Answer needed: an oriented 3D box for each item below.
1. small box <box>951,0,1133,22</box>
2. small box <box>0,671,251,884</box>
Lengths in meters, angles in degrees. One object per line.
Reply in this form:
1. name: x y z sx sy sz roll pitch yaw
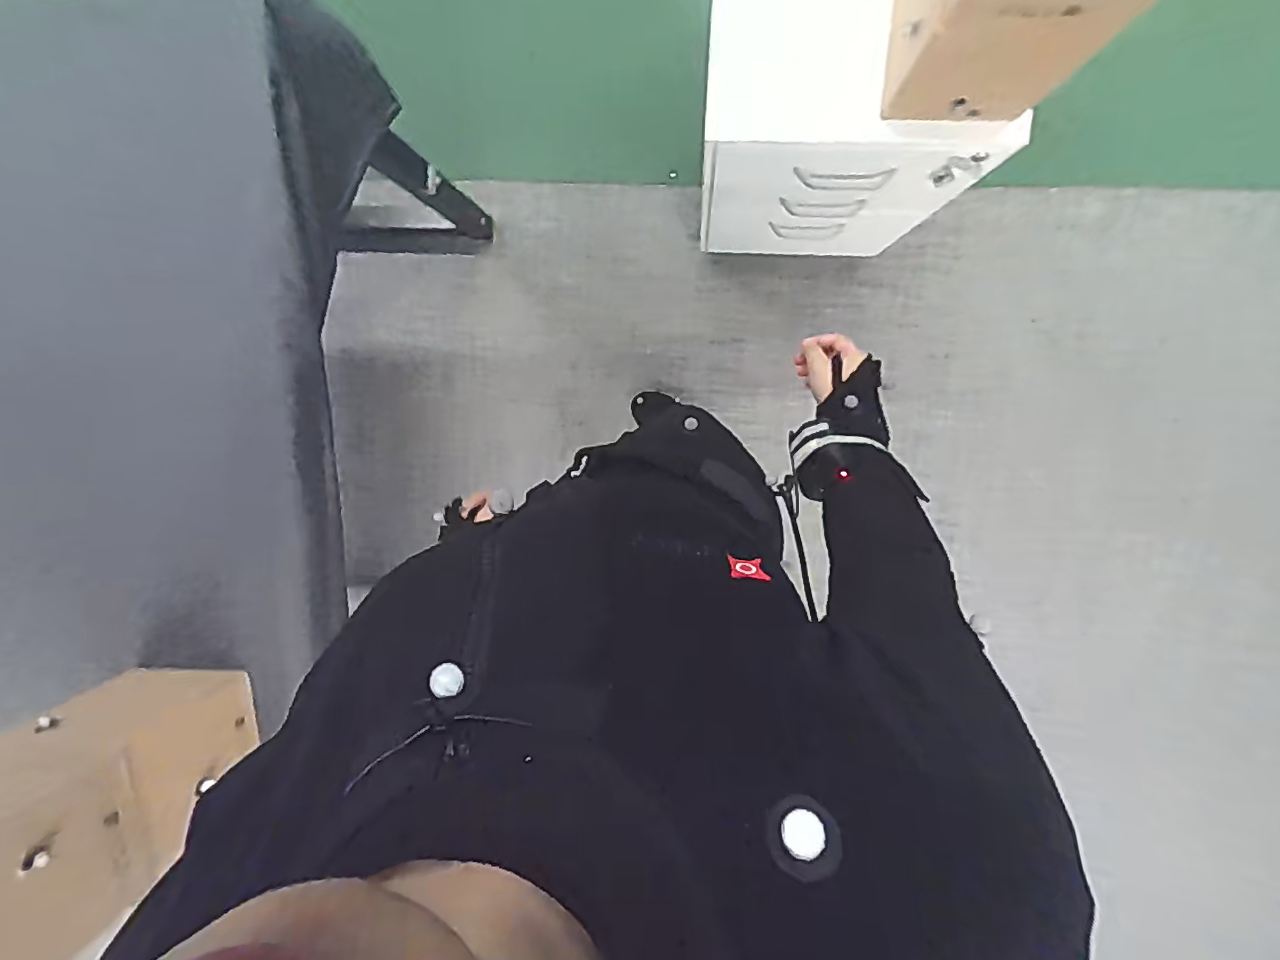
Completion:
1. small box: 0.356 -0.496 0.411 0.168 0.176 0.179 4 99 4
2. small box: -0.618 0.350 0.663 0.179 0.176 0.168 -2 99 5
